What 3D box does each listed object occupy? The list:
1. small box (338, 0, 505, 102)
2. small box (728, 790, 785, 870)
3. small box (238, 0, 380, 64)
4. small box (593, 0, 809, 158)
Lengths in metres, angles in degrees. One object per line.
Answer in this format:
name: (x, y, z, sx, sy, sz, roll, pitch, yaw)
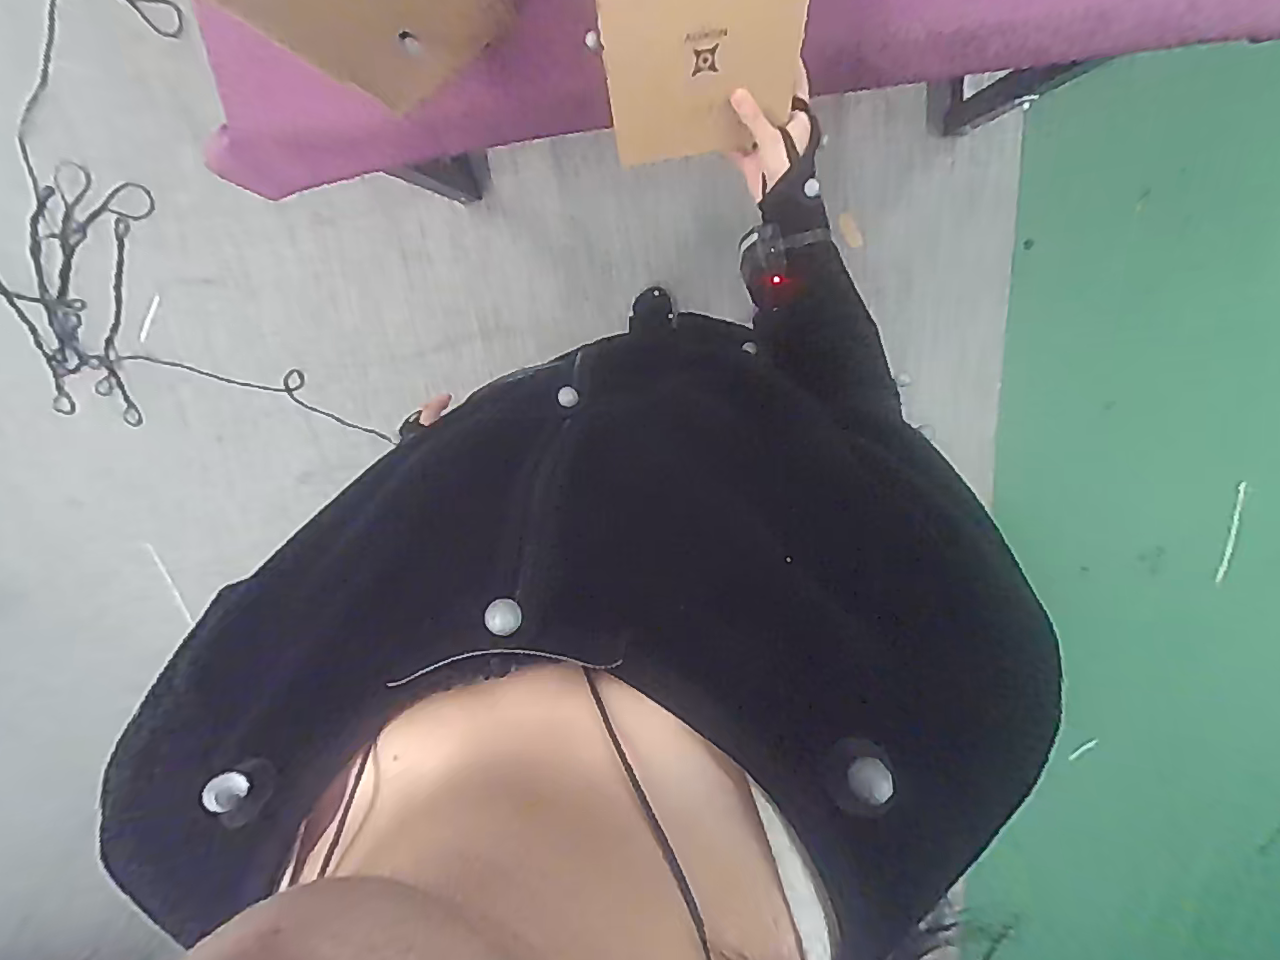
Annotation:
small box: (-0.254, -0.503, 0.505, 0.179, 0.176, 0.168, -30, 106, 12)
small box: (0.391, 1.185, 1.839, 0.168, 0.176, 0.179, -2, 110, 4)
small box: (-0.259, -0.434, 0.355, 0.179, 0.176, 0.168, -42, 103, 13)
small box: (0.043, -0.432, 0.477, 0.168, 0.179, 0.176, -9, 68, 0)
